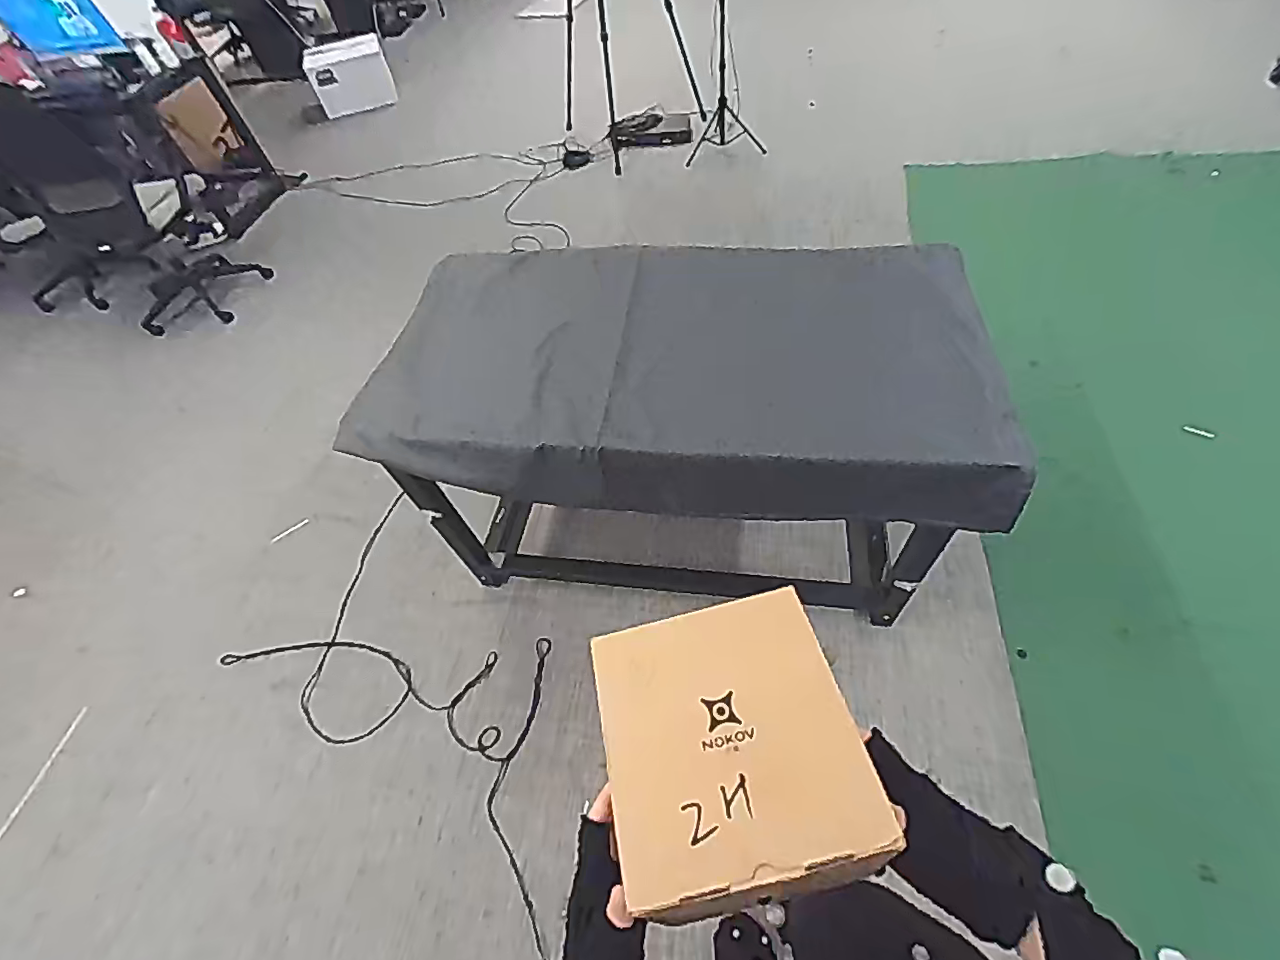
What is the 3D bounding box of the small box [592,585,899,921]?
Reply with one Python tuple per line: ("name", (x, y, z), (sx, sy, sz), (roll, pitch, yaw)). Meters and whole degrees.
("small box", (0.068, 0.214, 0.421), (0.168, 0.176, 0.179), (-15, 48, 1))
